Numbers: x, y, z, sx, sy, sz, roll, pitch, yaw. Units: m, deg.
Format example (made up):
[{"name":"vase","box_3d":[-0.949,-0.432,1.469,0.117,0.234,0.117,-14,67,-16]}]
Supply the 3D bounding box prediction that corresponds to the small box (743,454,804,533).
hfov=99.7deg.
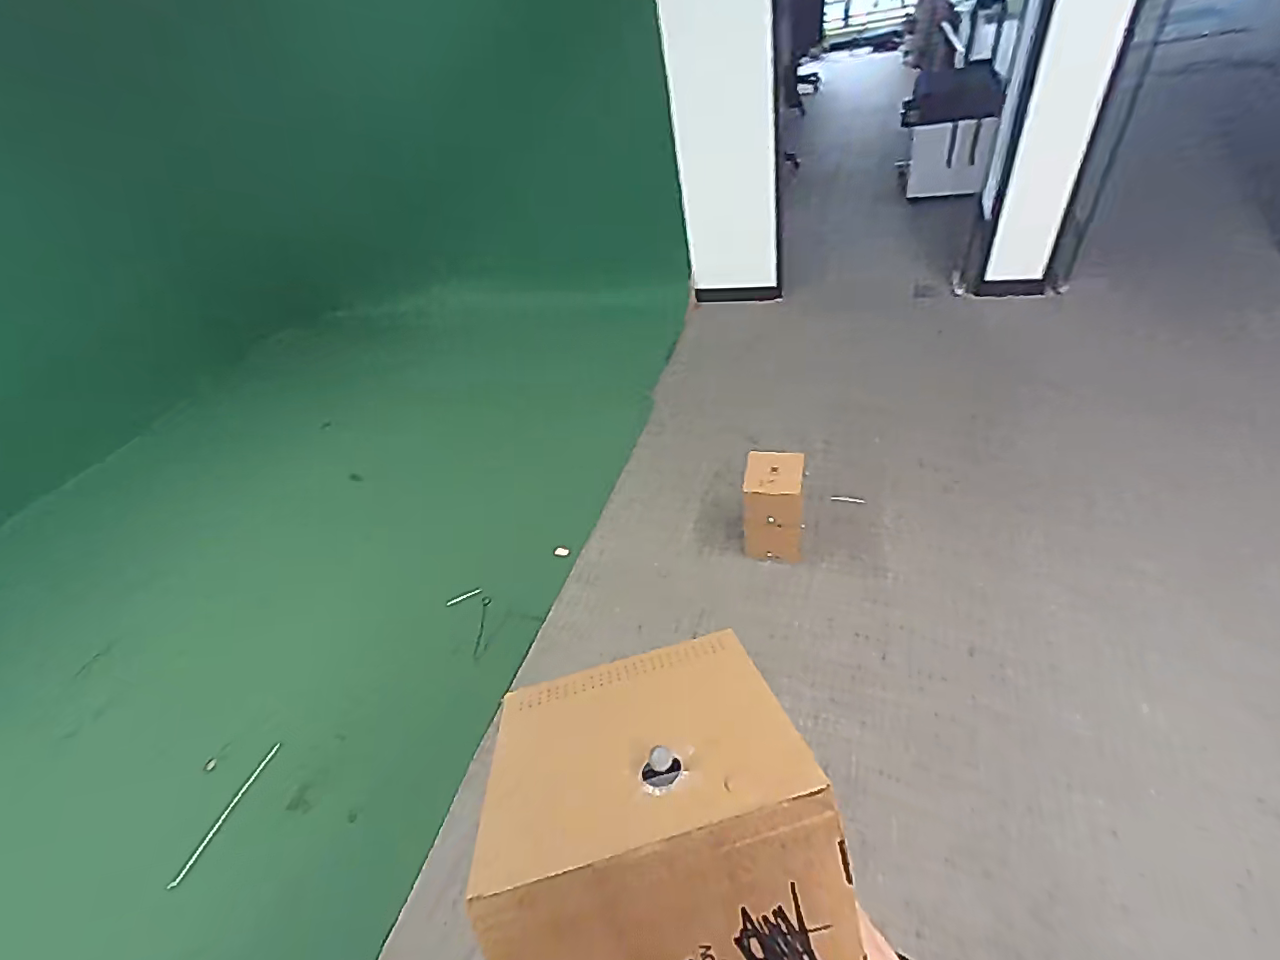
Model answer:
[{"name":"small box","box_3d":[0.415,0.040,1.673,0.168,0.176,0.179,3,47,19]}]
